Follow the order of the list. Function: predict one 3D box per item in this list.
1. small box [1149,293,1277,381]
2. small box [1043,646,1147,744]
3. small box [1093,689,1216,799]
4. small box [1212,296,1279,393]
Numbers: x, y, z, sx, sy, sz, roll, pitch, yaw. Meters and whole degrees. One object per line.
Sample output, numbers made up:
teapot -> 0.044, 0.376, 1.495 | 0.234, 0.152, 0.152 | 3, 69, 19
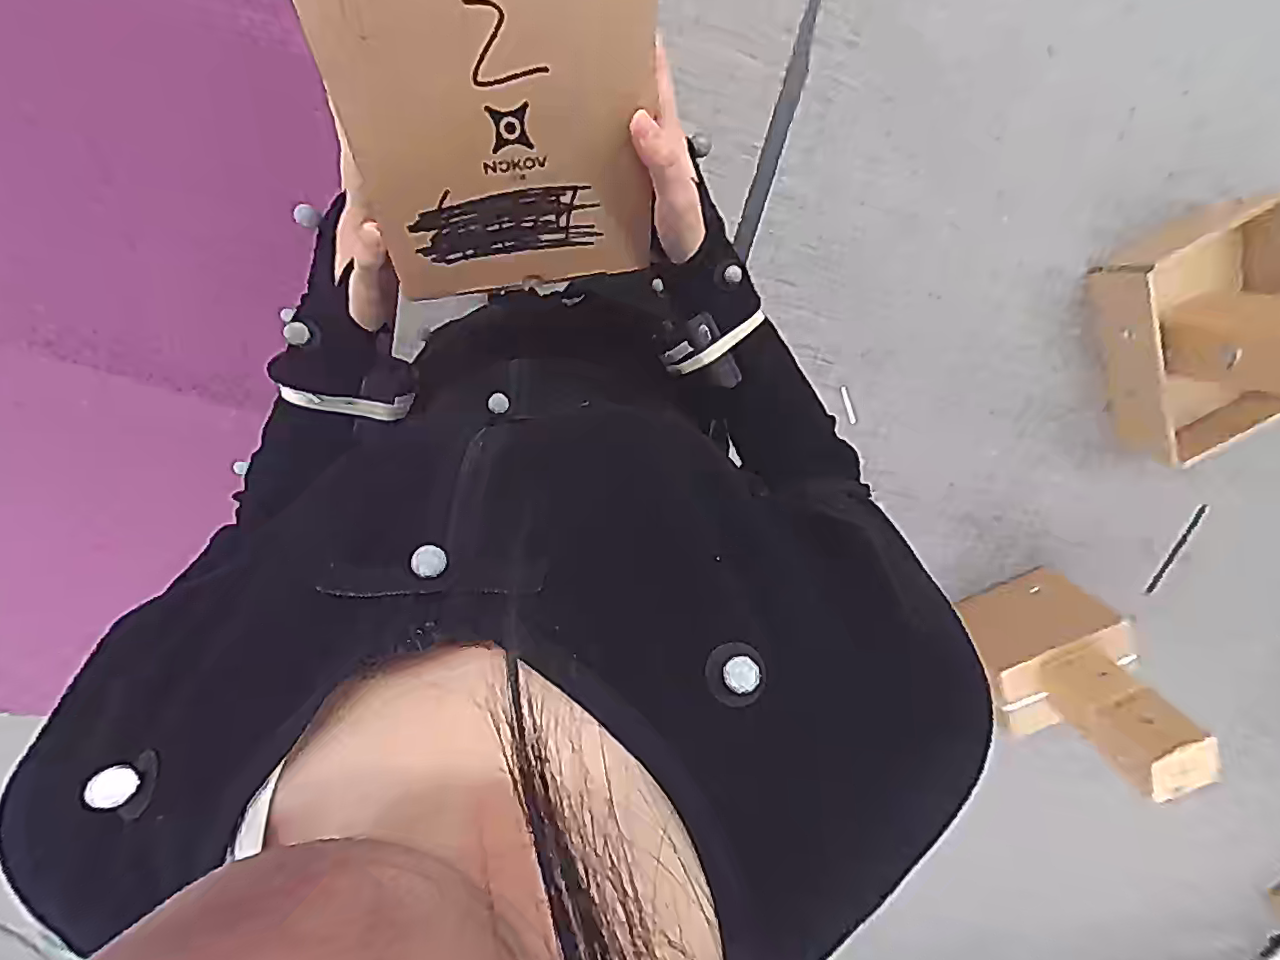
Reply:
small box -> 1.543, -0.394, 1.464 | 0.179, 0.176, 0.168 | -27, 112, 4
small box -> 1.299, 0.605, 1.550 | 0.168, 0.176, 0.179 | -25, 113, 3
small box -> 1.324, 0.672, 1.401 | 0.168, 0.176, 0.179 | -25, 112, 4
small box -> 1.565, -0.334, 1.314 | 0.179, 0.176, 0.168 | -28, 111, 5
